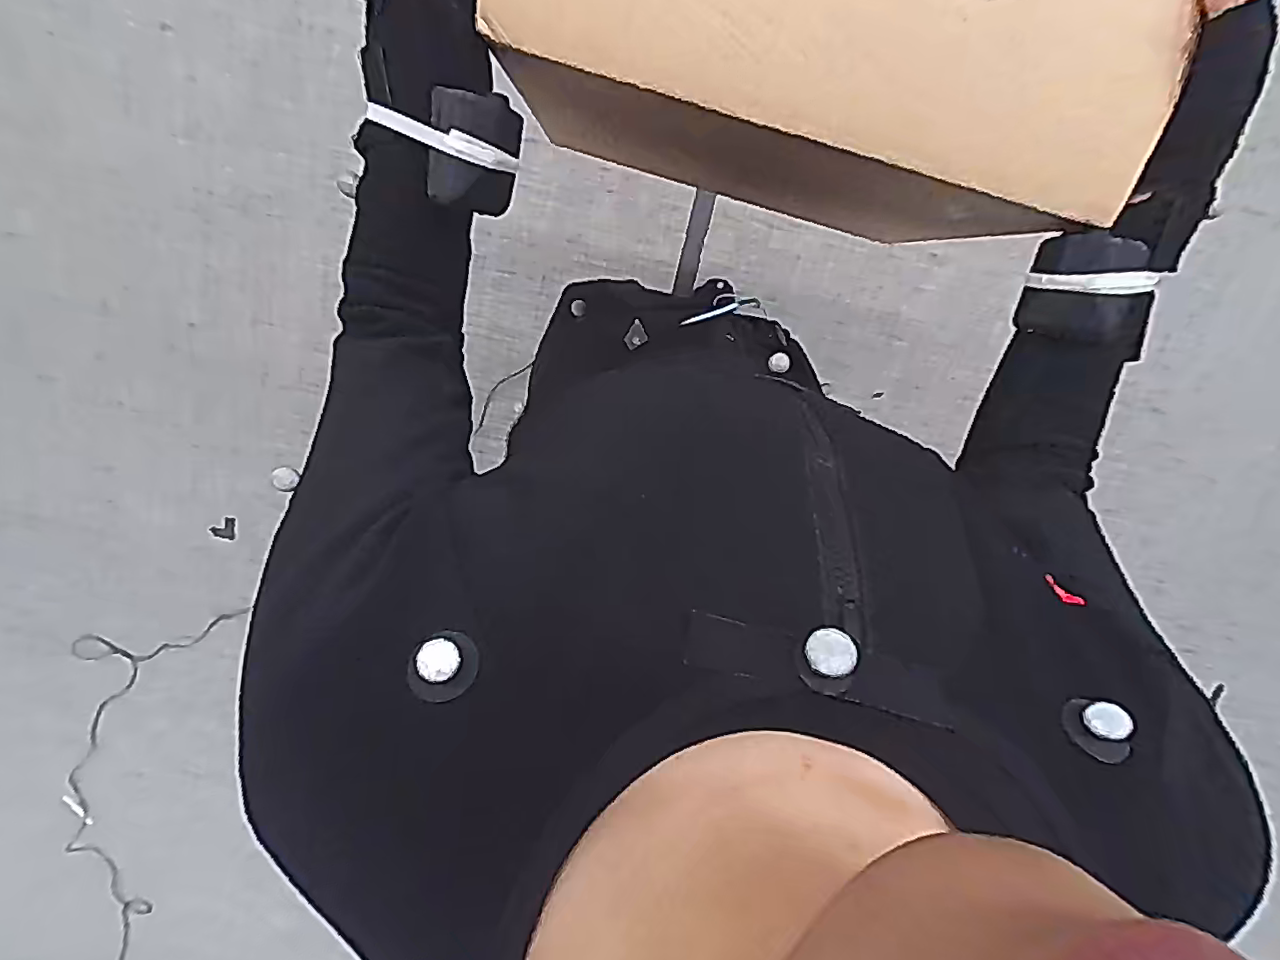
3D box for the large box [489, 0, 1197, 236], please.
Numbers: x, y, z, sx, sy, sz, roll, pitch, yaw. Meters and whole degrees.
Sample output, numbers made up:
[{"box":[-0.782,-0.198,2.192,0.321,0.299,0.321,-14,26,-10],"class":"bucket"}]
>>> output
[{"box":[0.131,-0.404,0.417,0.408,0.320,0.320,12,112,-7],"class":"large box"}]
